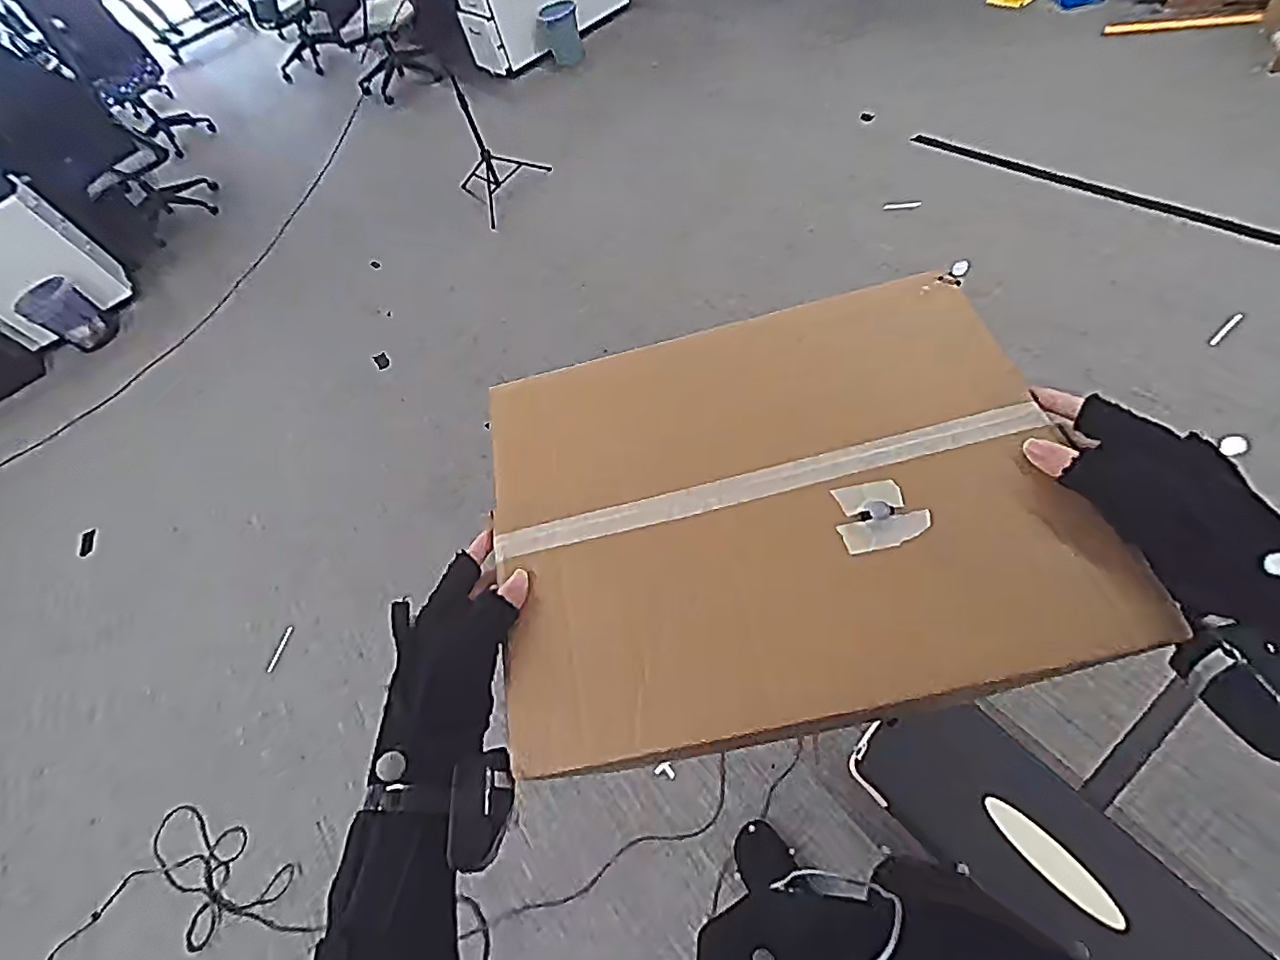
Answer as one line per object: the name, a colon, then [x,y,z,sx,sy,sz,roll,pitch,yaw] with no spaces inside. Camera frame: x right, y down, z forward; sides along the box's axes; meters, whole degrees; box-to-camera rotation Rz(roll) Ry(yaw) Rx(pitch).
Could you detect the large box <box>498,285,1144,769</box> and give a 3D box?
large box: [0.113,0.076,0.540,0.408,0.320,0.320,-14,62,3]
